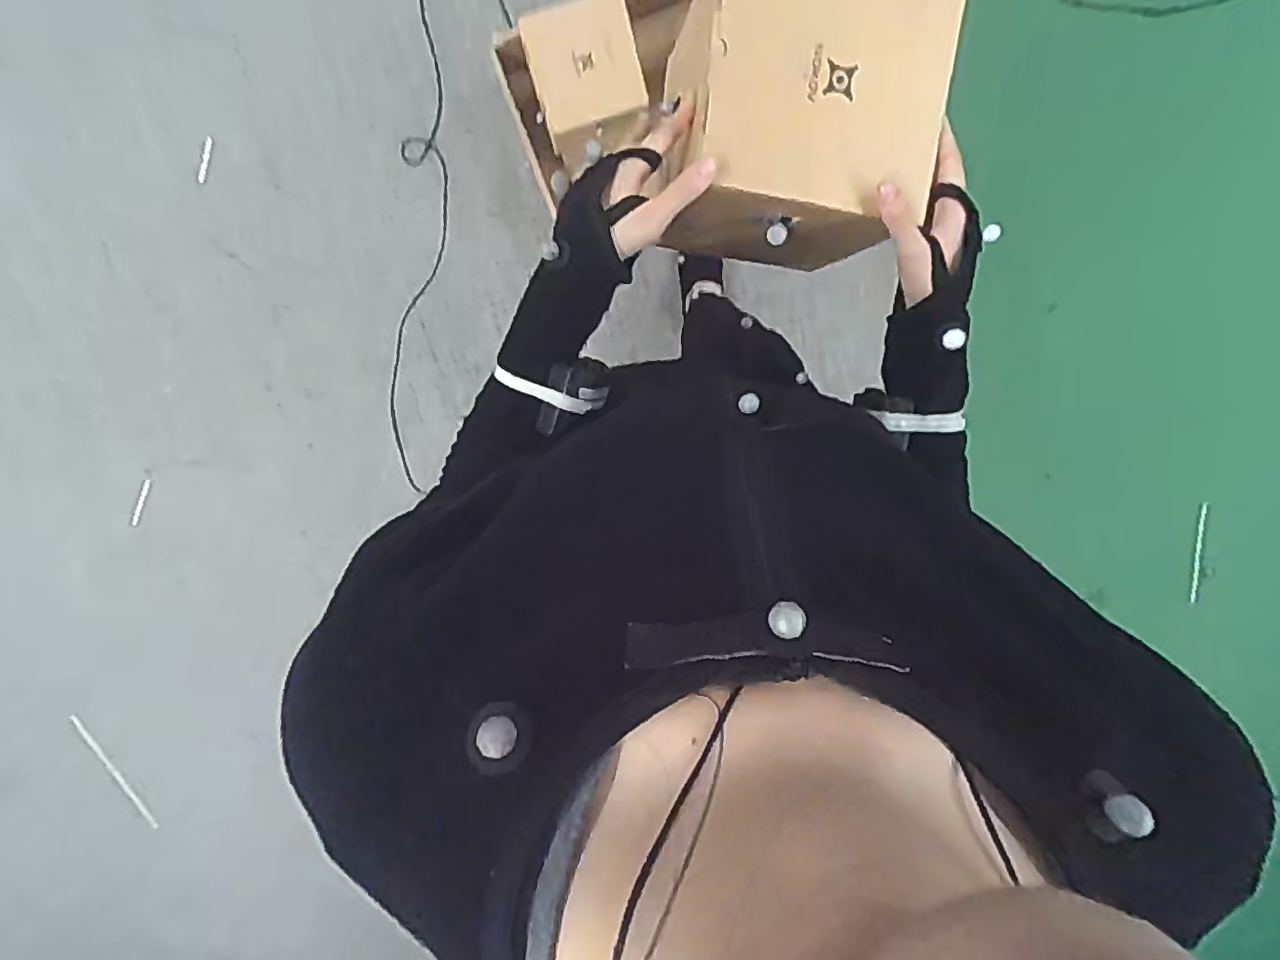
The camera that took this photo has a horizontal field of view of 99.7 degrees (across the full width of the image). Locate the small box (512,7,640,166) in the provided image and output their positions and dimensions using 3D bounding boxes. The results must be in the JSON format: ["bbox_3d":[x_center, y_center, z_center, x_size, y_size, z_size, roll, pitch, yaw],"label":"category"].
[{"bbox_3d":[-0.110,-0.683,0.963,0.179,0.176,0.168,-17,111,-1],"label":"small box"}]

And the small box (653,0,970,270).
[{"bbox_3d":[0.119,-0.282,0.443,0.179,0.176,0.168,6,98,-11],"label":"small box"}]
